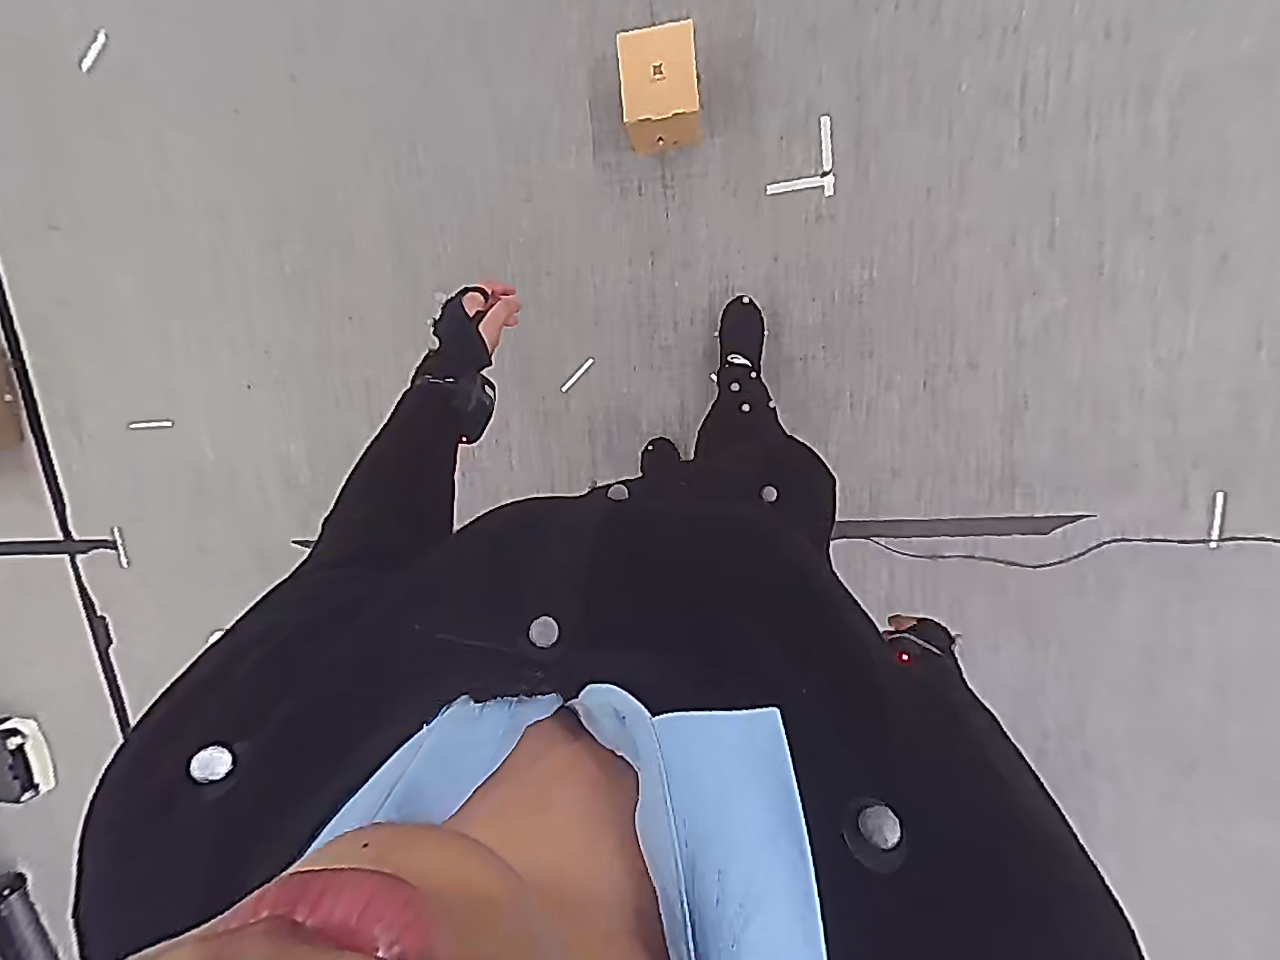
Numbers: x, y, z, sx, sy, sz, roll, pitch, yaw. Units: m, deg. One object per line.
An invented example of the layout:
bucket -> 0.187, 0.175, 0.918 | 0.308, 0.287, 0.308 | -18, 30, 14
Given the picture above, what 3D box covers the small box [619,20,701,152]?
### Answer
small box -> 0.051, -0.881, 1.226 | 0.168, 0.176, 0.179 | -5, 101, 8
